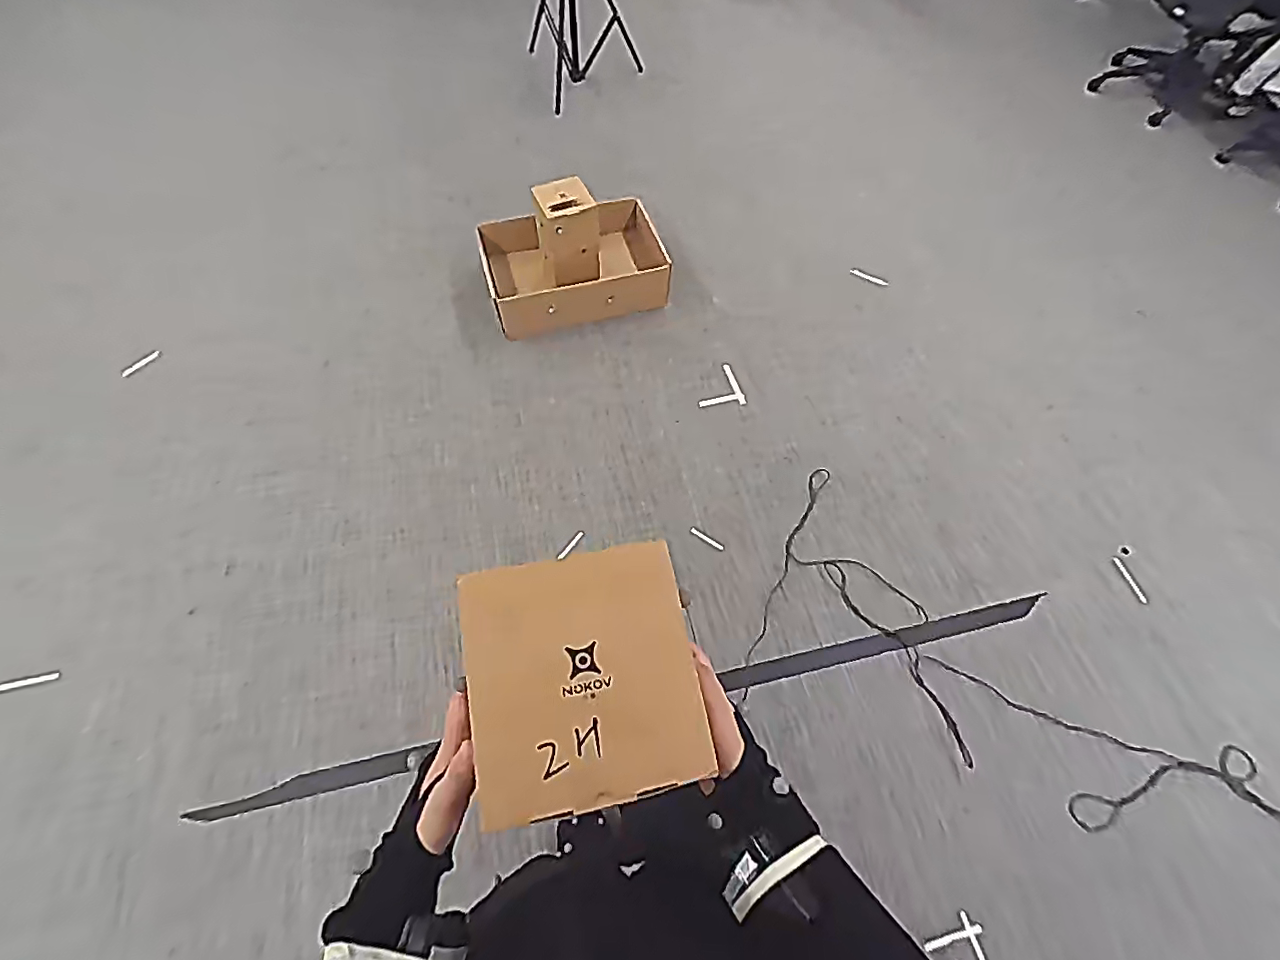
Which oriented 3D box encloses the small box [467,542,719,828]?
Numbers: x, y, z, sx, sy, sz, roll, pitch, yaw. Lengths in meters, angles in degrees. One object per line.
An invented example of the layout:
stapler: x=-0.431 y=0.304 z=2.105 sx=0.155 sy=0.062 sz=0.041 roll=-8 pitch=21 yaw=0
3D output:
small box: x=-0.048 y=0.169 z=0.471 sx=0.168 sy=0.176 sz=0.179 roll=-9 pitch=70 yaw=-10

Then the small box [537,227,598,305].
small box: x=-0.255 y=-0.760 z=1.926 sx=0.168 sy=0.176 sz=0.179 roll=-20 pitch=65 yaw=-12
